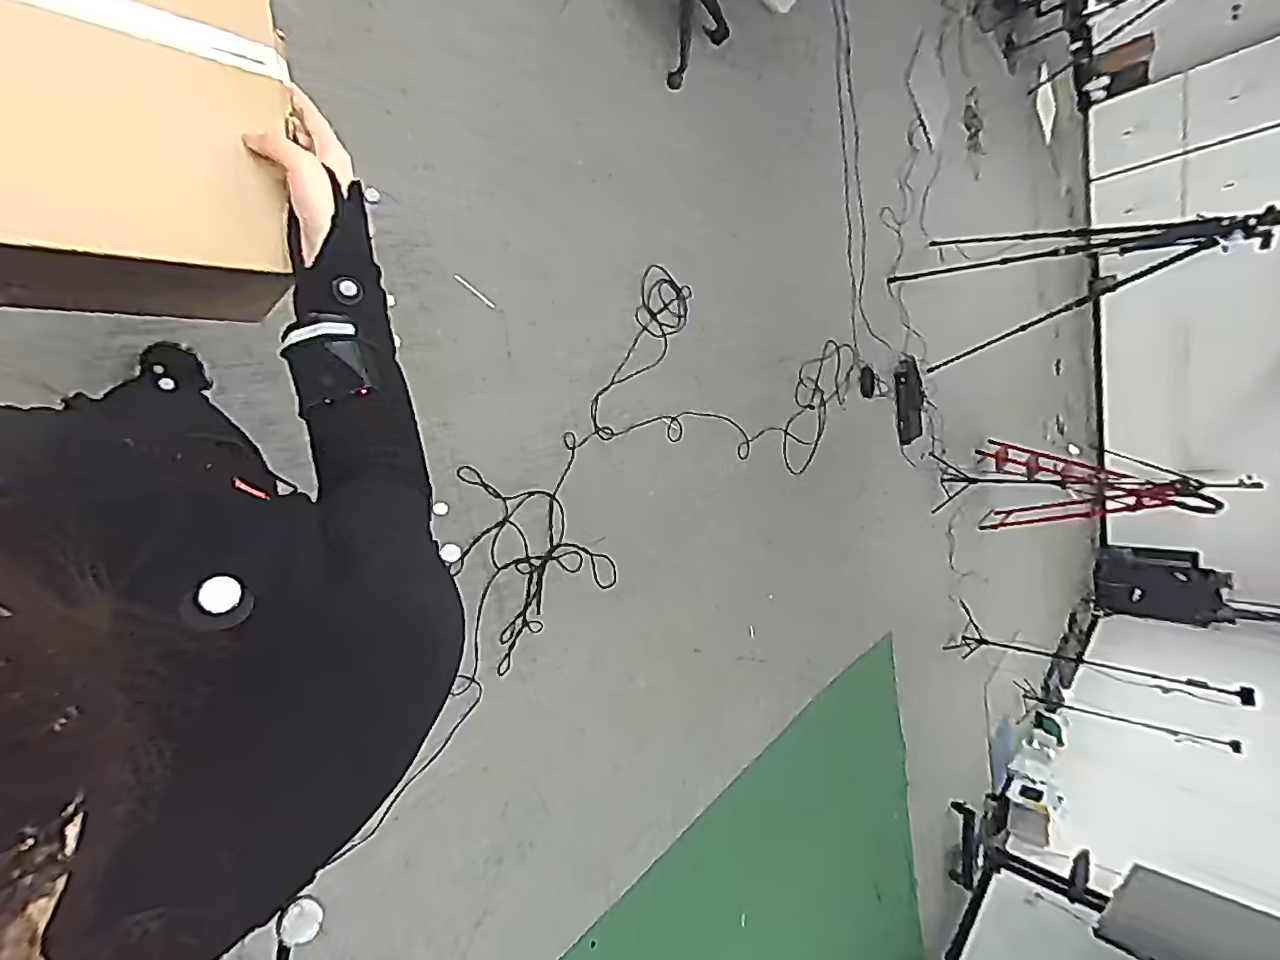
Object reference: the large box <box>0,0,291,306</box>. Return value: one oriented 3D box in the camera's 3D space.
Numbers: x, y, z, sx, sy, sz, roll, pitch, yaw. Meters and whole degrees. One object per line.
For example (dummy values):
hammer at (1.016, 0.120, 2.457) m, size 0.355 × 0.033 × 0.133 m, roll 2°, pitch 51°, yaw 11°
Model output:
large box at (-0.547, -0.324, 0.426) m, size 0.408 × 0.320 × 0.320 m, roll -9°, pitch 101°, yaw -38°
